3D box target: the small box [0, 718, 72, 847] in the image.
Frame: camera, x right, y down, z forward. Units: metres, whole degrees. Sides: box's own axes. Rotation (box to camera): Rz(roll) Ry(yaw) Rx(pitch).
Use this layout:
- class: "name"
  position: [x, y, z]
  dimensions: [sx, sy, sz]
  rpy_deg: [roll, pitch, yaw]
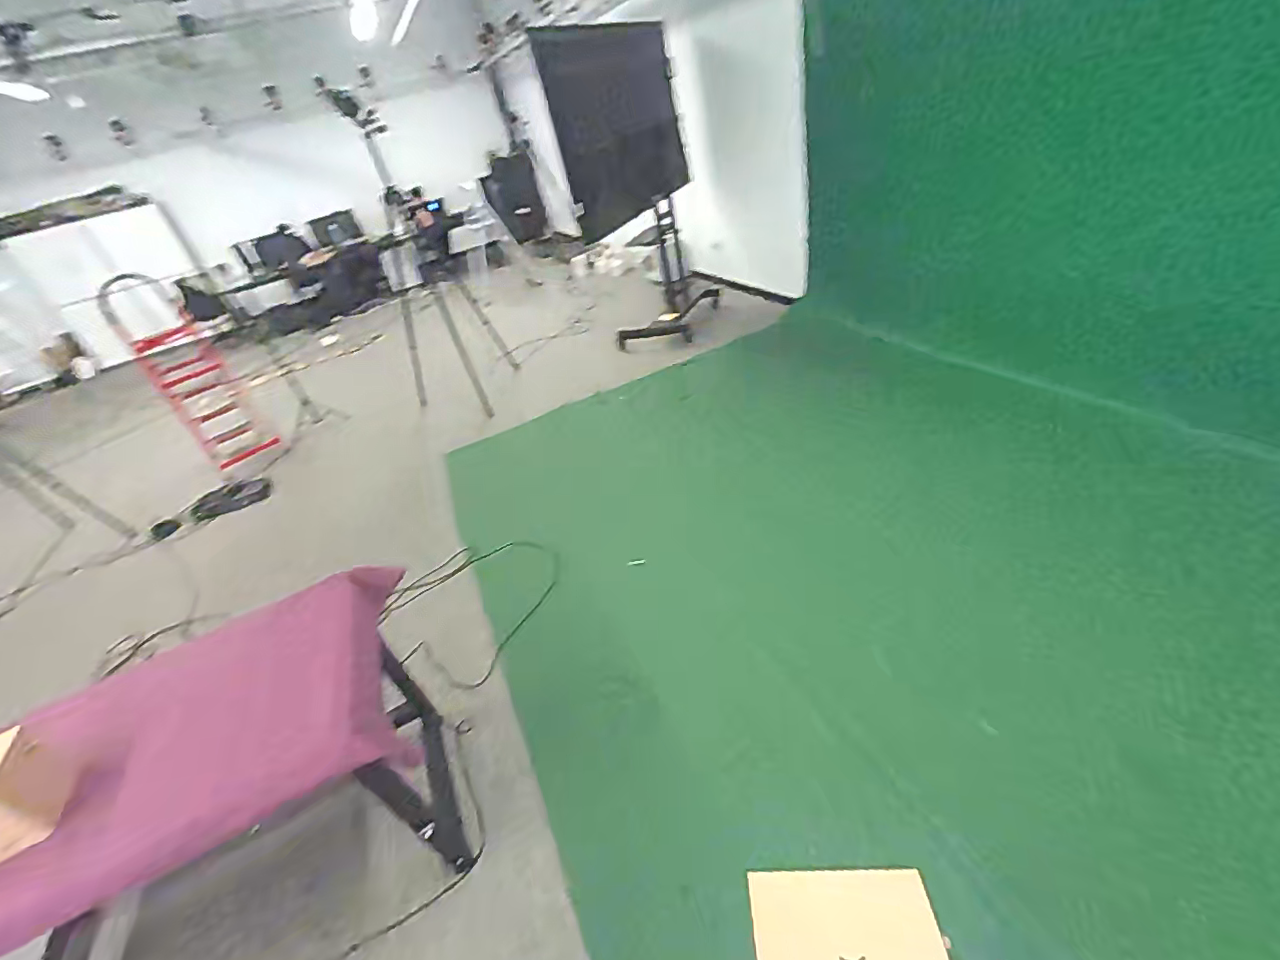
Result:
- class: "small box"
  position: [-1.310, 0.626, 1.078]
  dimensions: [0.168, 0.176, 0.179]
  rpy_deg: [-25, 36, -16]
